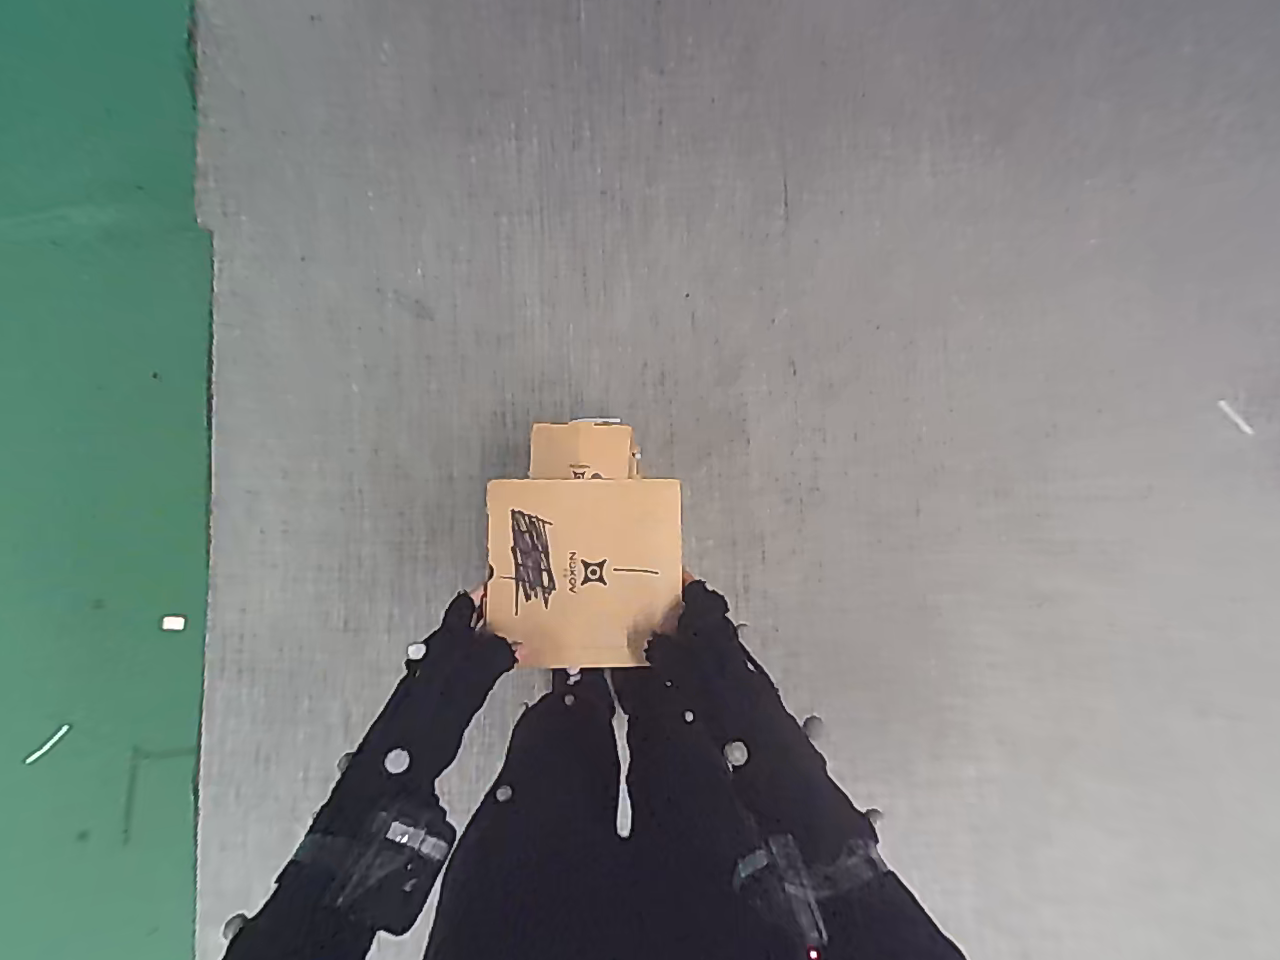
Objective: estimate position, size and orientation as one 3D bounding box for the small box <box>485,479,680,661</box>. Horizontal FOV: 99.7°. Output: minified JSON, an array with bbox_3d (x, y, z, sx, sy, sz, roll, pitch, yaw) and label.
[{"bbox_3d":[-0.053,0.093,0.569,0.179,0.176,0.168,0,82,-3],"label":"small box"}]

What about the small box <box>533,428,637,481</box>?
[{"bbox_3d":[-0.094,0.007,0.974,0.168,0.176,0.179,1,87,3],"label":"small box"}]
